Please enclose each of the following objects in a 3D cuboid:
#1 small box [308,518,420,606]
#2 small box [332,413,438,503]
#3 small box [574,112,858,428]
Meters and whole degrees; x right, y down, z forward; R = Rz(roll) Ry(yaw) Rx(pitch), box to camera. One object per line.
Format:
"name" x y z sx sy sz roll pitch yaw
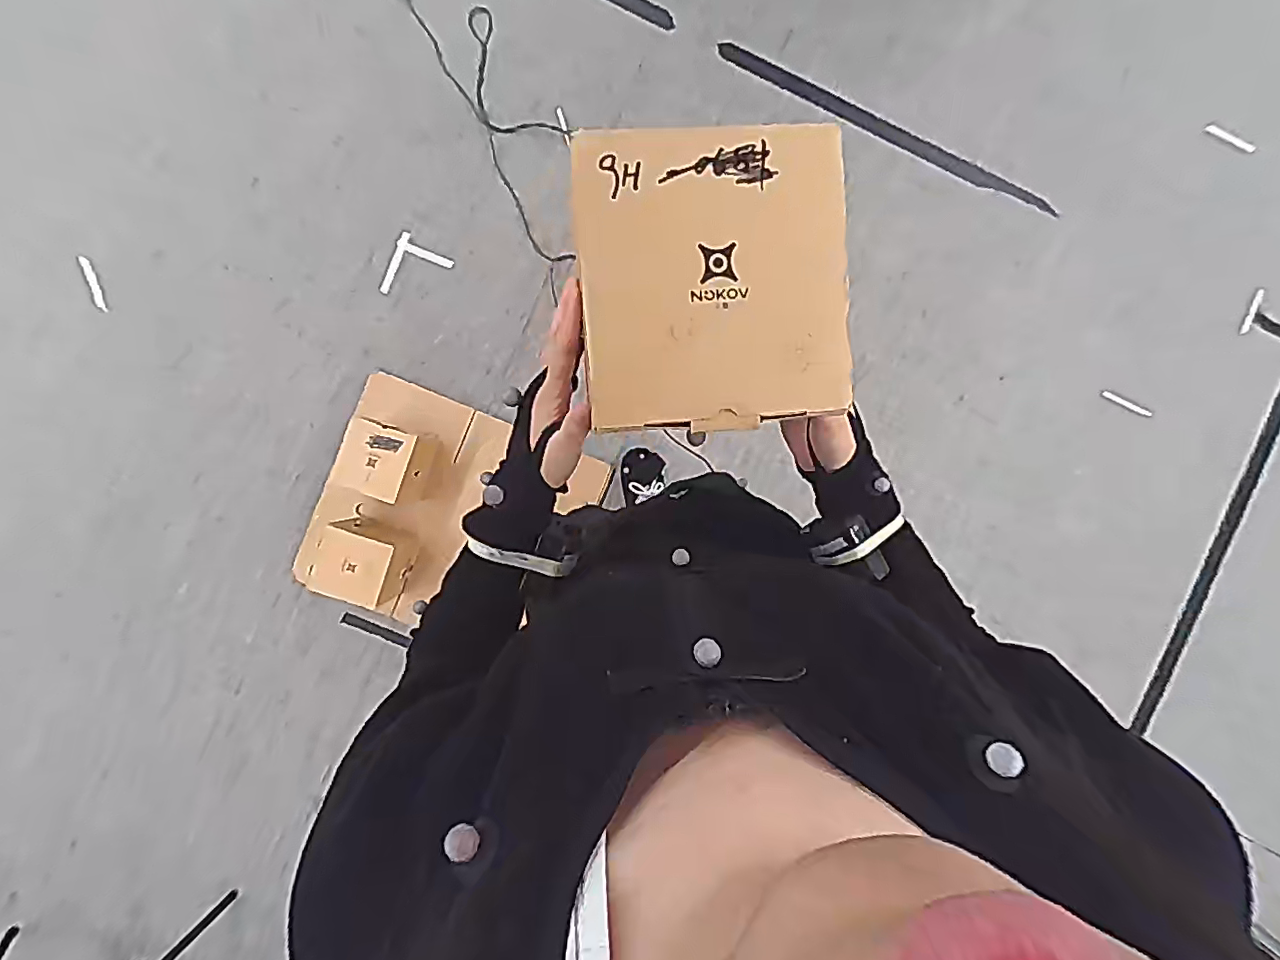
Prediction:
"small box" -0.691 0.200 1.372 0.179 0.176 0.168 17 92 -3
"small box" -0.633 -0.054 1.367 0.168 0.176 0.179 19 91 -2
"small box" 0.042 -0.133 0.399 0.168 0.176 0.179 -5 96 -5
